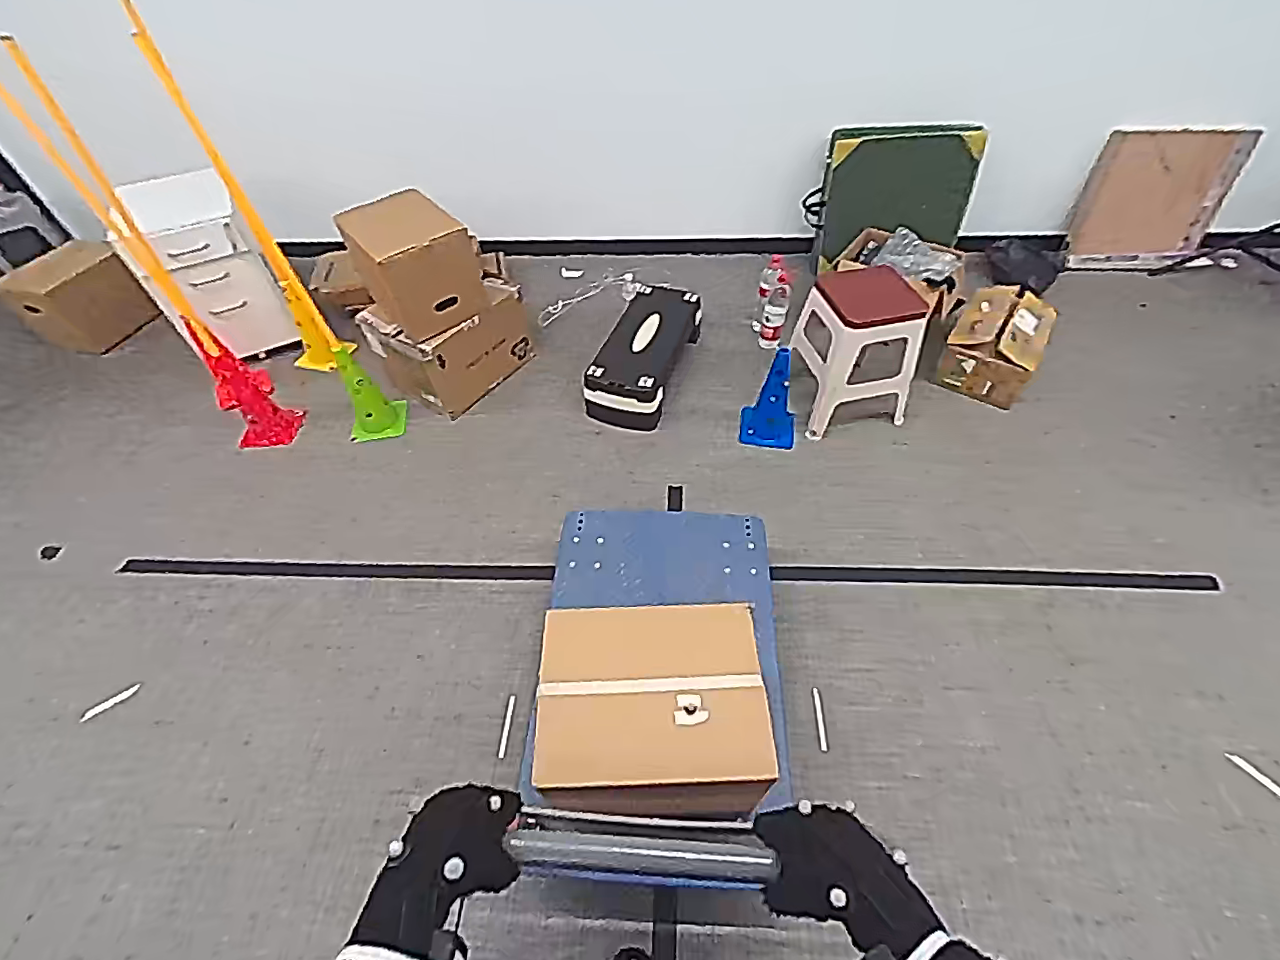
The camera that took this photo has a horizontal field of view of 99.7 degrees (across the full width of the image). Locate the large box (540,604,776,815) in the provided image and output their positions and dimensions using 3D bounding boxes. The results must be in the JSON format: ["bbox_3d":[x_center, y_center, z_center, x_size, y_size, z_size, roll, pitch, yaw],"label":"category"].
[{"bbox_3d":[0.023,0.472,1.104,0.408,0.320,0.320,-2,51,-1],"label":"large box"}]
